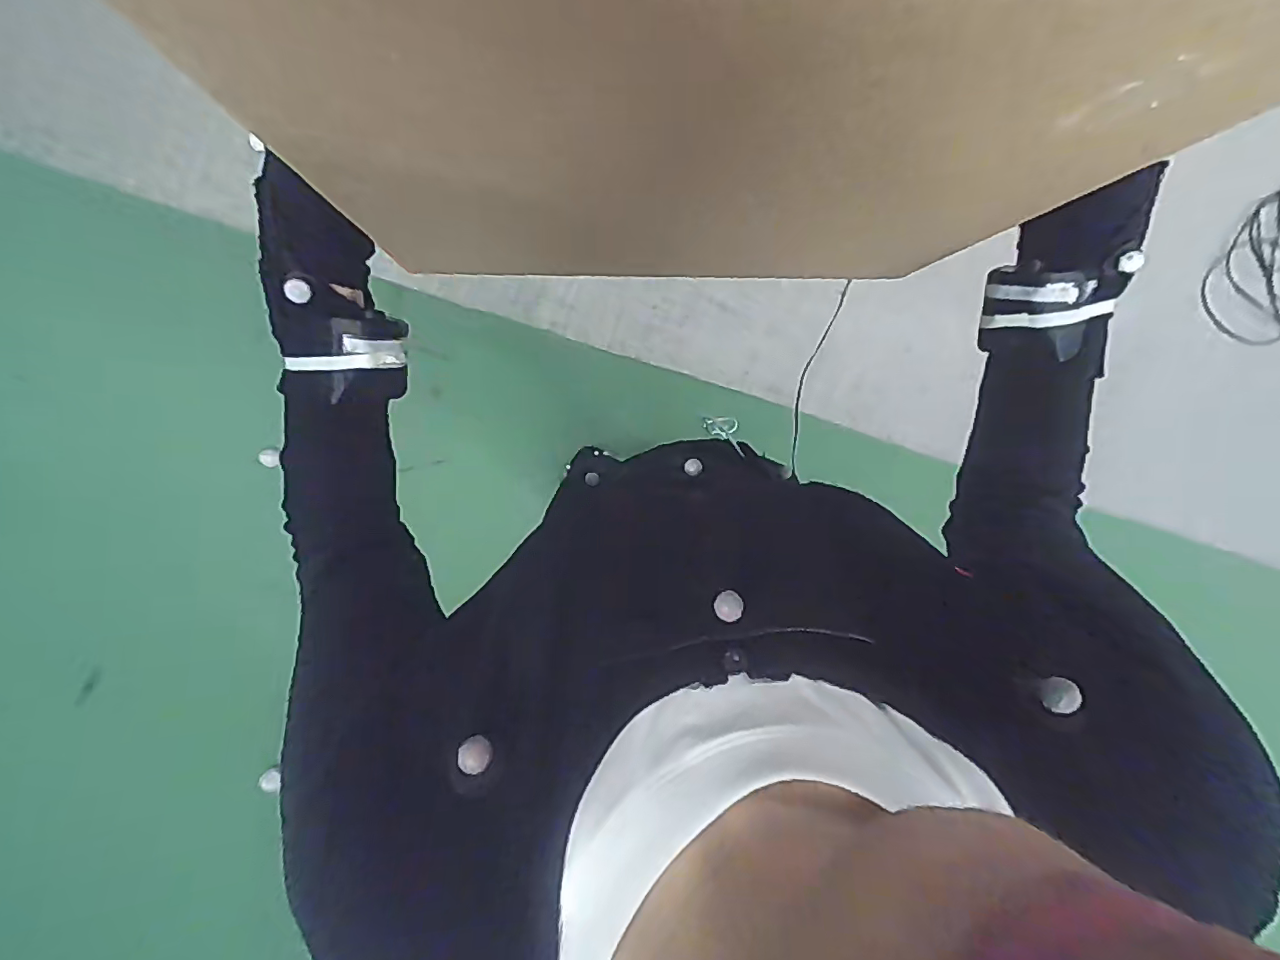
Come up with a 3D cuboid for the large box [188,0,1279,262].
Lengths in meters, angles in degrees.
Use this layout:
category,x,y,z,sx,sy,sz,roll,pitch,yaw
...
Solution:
category,x,y,z,sx,sy,sz,roll,pitch,yaw
large box,0.038,-0.310,0.267,0.408,0.320,0.320,-1,97,-7
